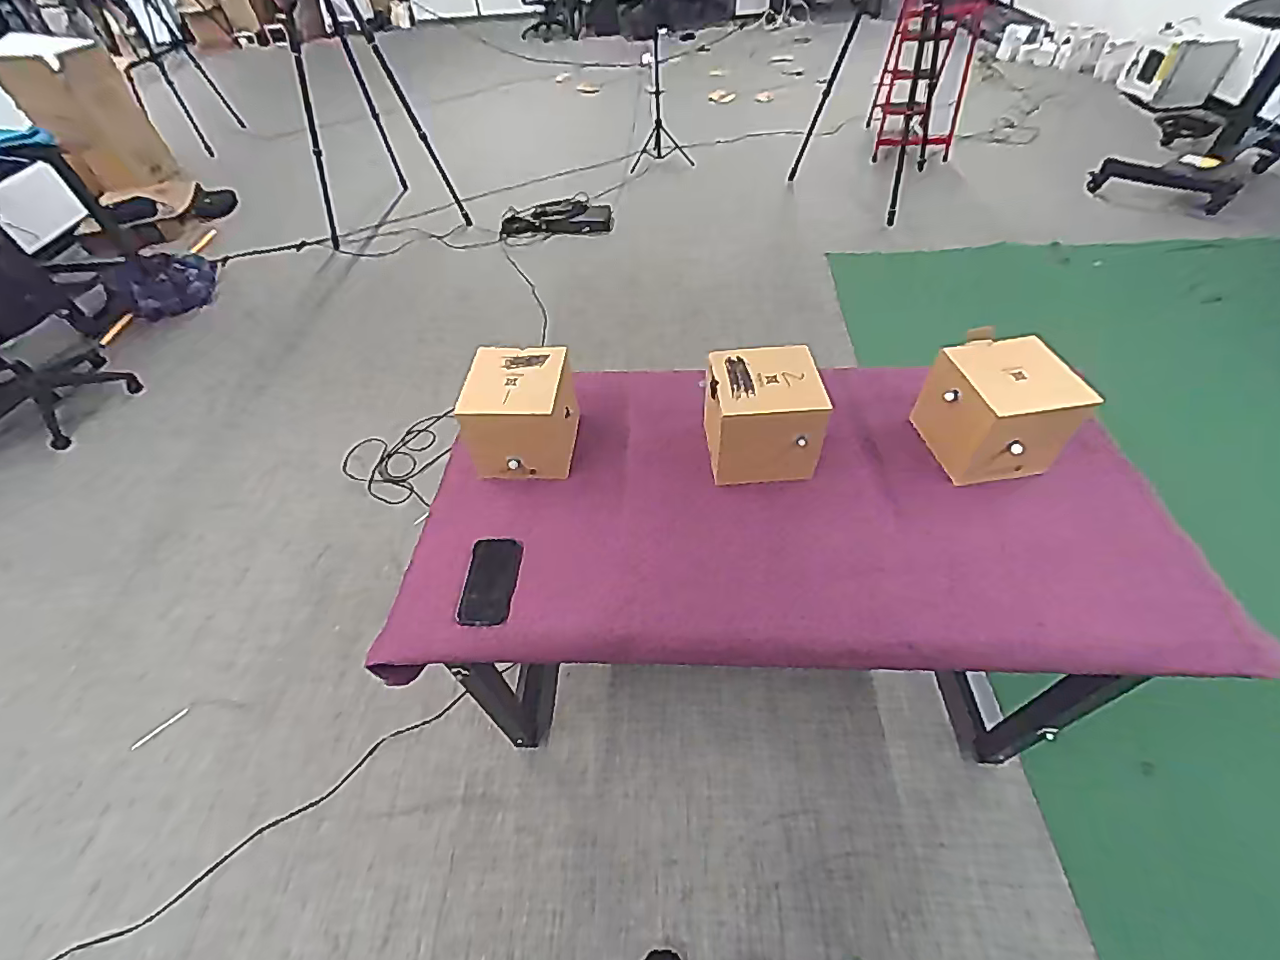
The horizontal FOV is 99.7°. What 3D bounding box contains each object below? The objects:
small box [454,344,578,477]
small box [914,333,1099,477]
[{"bbox_3d":[-0.211,-0.126,0.979,0.168,0.176,0.179,1,52,5],"label":"small box"},{"bbox_3d":[0.600,-0.120,0.916,0.168,0.176,0.179,-9,49,-2],"label":"small box"}]
